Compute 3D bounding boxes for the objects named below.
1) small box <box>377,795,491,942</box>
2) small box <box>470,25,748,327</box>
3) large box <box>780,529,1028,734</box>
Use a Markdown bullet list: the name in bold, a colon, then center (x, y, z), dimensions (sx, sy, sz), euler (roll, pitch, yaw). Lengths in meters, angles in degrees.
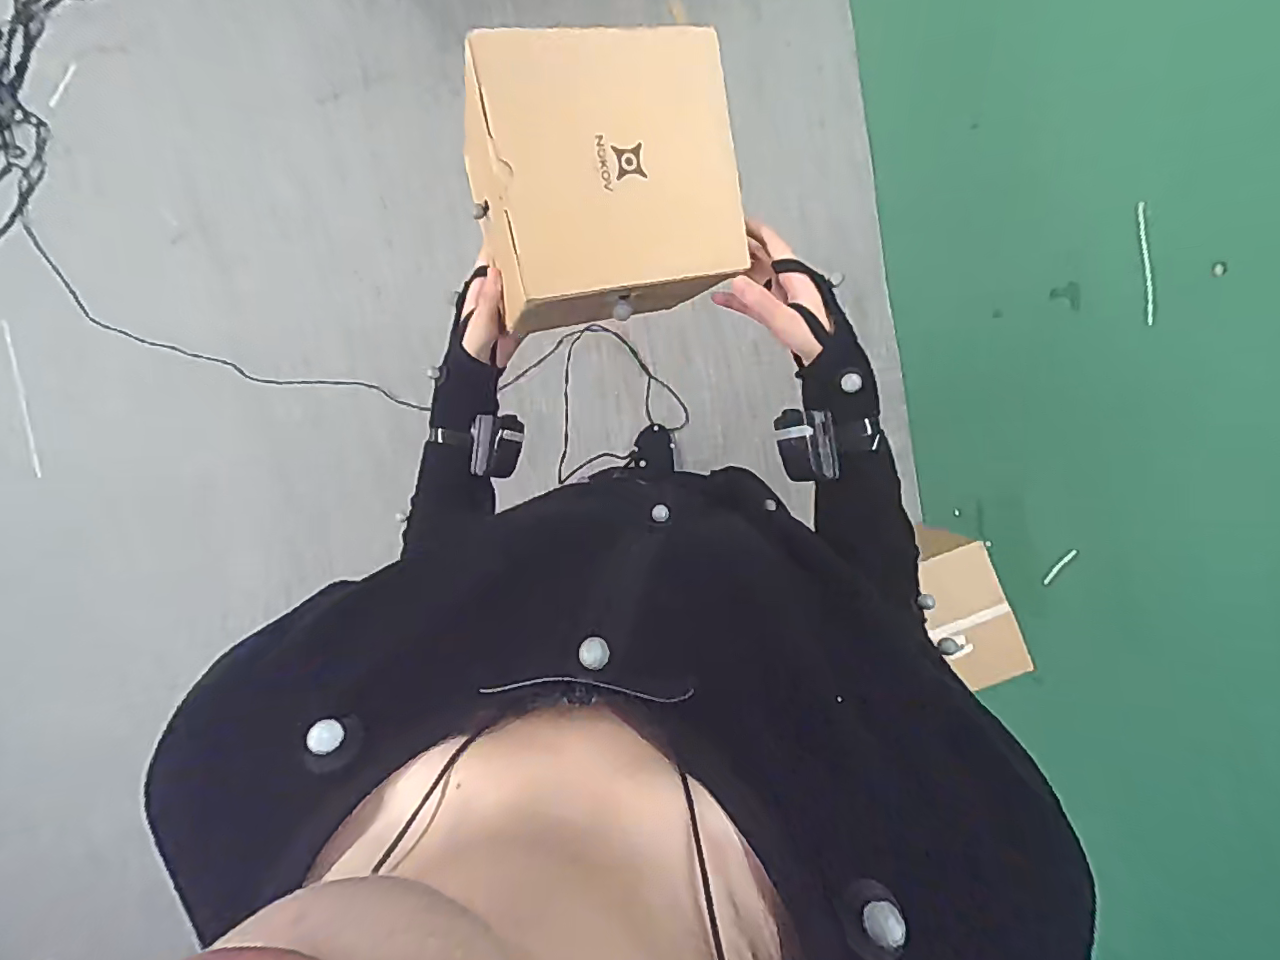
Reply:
- **small box**: center (-0.435, 0.827, 1.166), dimensions (0.168, 0.176, 0.179), euler (11, 94, 2)
- **small box**: center (-0.036, -0.230, 0.447), dimensions (0.179, 0.176, 0.168), euler (-14, 101, -15)
- **large box**: center (0.615, 0.347, 1.336), dimensions (0.408, 0.320, 0.320), euler (-22, 91, 3)
